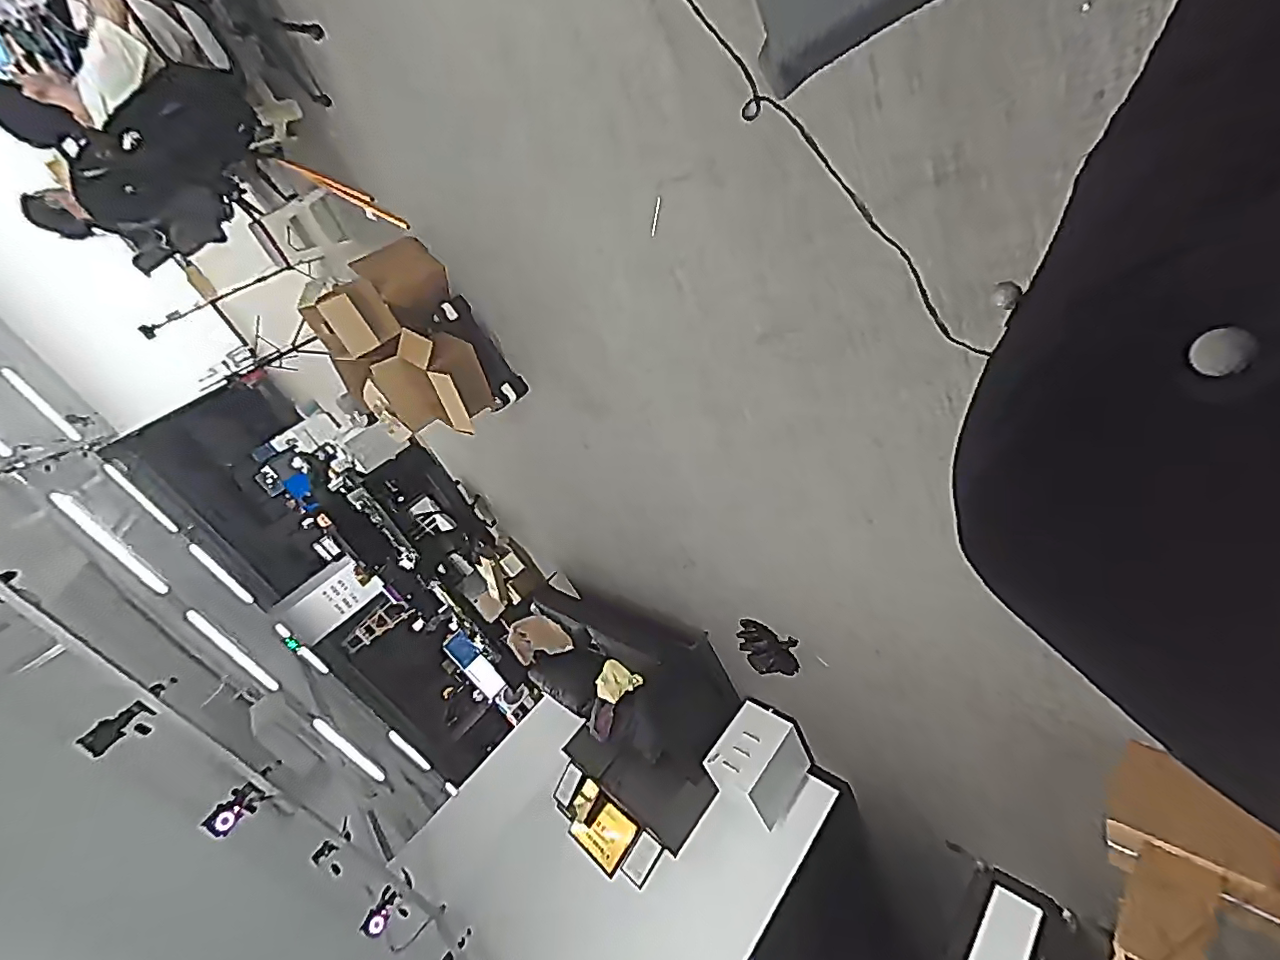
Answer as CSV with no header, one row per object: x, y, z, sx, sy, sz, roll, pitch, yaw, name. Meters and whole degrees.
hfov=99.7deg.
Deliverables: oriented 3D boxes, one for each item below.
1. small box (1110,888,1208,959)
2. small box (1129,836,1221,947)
1.490,1.323,1.553,0.179,0.176,0.168,8,132,52,small box
1.603,1.225,1.622,0.179,0.176,0.168,10,134,51,small box
